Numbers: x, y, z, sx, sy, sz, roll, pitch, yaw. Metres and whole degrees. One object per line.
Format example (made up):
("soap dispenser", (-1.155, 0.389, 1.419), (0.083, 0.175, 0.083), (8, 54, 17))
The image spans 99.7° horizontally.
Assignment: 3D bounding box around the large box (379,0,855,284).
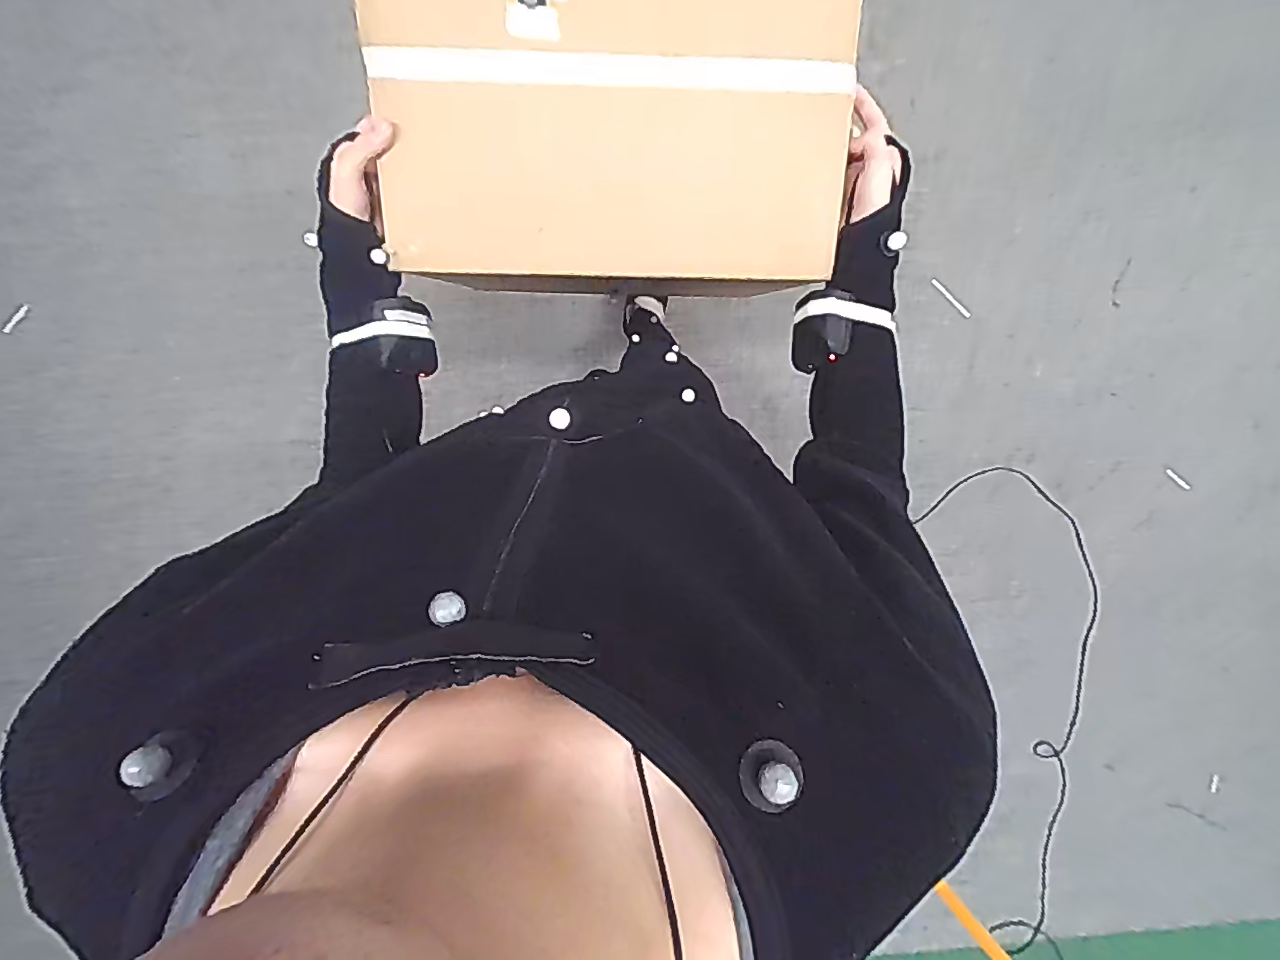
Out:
("large box", (-0.020, -0.389, 0.605), (0.408, 0.320, 0.320), (0, 106, -2))
